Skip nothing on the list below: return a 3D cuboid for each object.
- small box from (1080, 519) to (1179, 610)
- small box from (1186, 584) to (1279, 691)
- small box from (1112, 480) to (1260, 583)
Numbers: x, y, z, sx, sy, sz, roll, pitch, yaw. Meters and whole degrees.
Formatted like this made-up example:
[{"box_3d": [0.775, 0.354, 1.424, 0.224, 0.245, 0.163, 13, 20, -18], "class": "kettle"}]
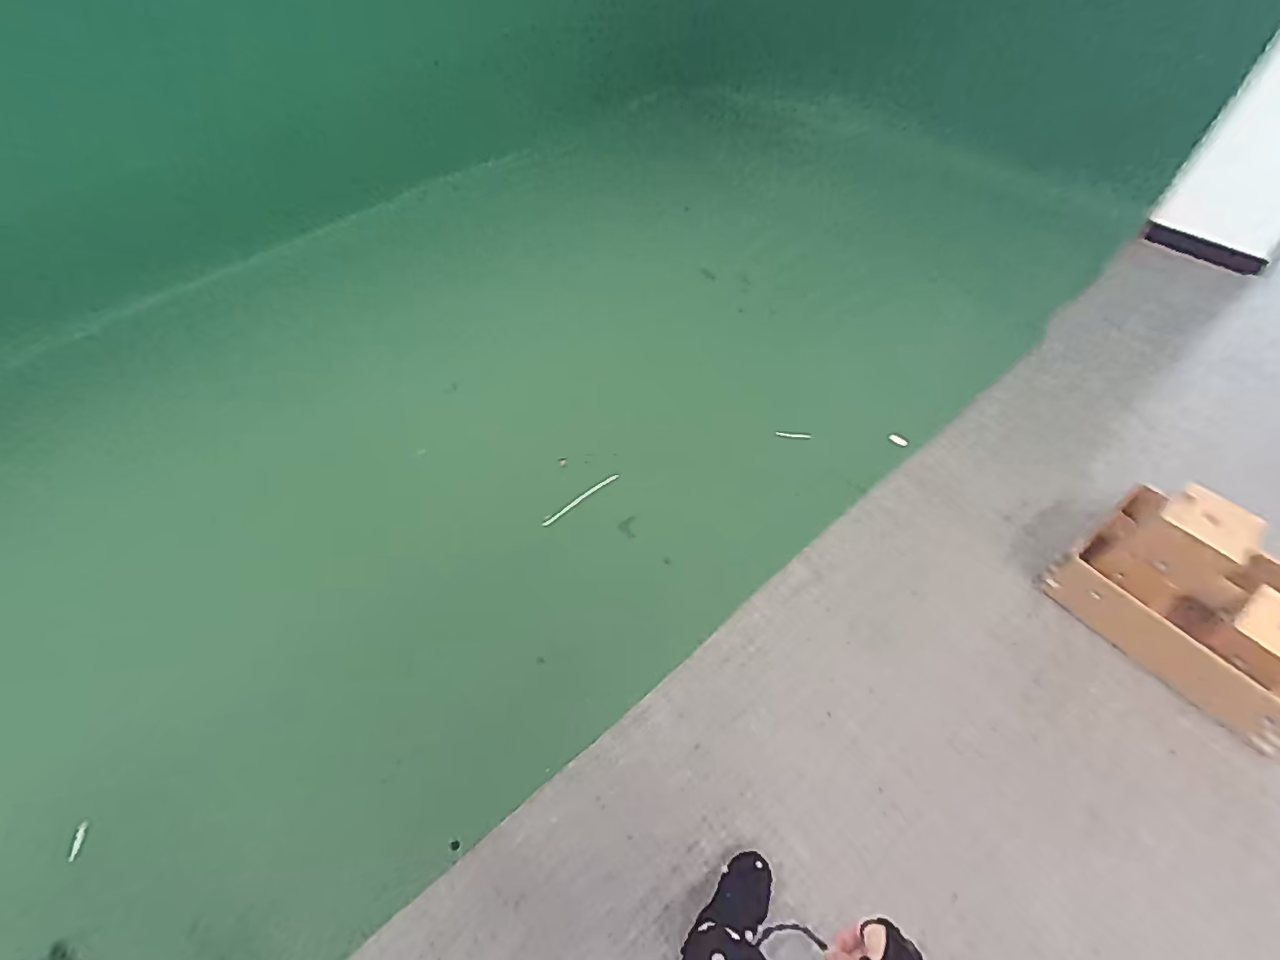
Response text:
[{"box_3d": [1.391, 0.232, 1.514, 0.179, 0.176, 0.168, -34, 60, -20], "class": "small box"}, {"box_3d": [1.567, 0.406, 1.378, 0.179, 0.176, 0.168, -33, 59, -18], "class": "small box"}, {"box_3d": [1.380, 0.141, 1.378, 0.168, 0.176, 0.179, -35, 61, -20], "class": "small box"}]
